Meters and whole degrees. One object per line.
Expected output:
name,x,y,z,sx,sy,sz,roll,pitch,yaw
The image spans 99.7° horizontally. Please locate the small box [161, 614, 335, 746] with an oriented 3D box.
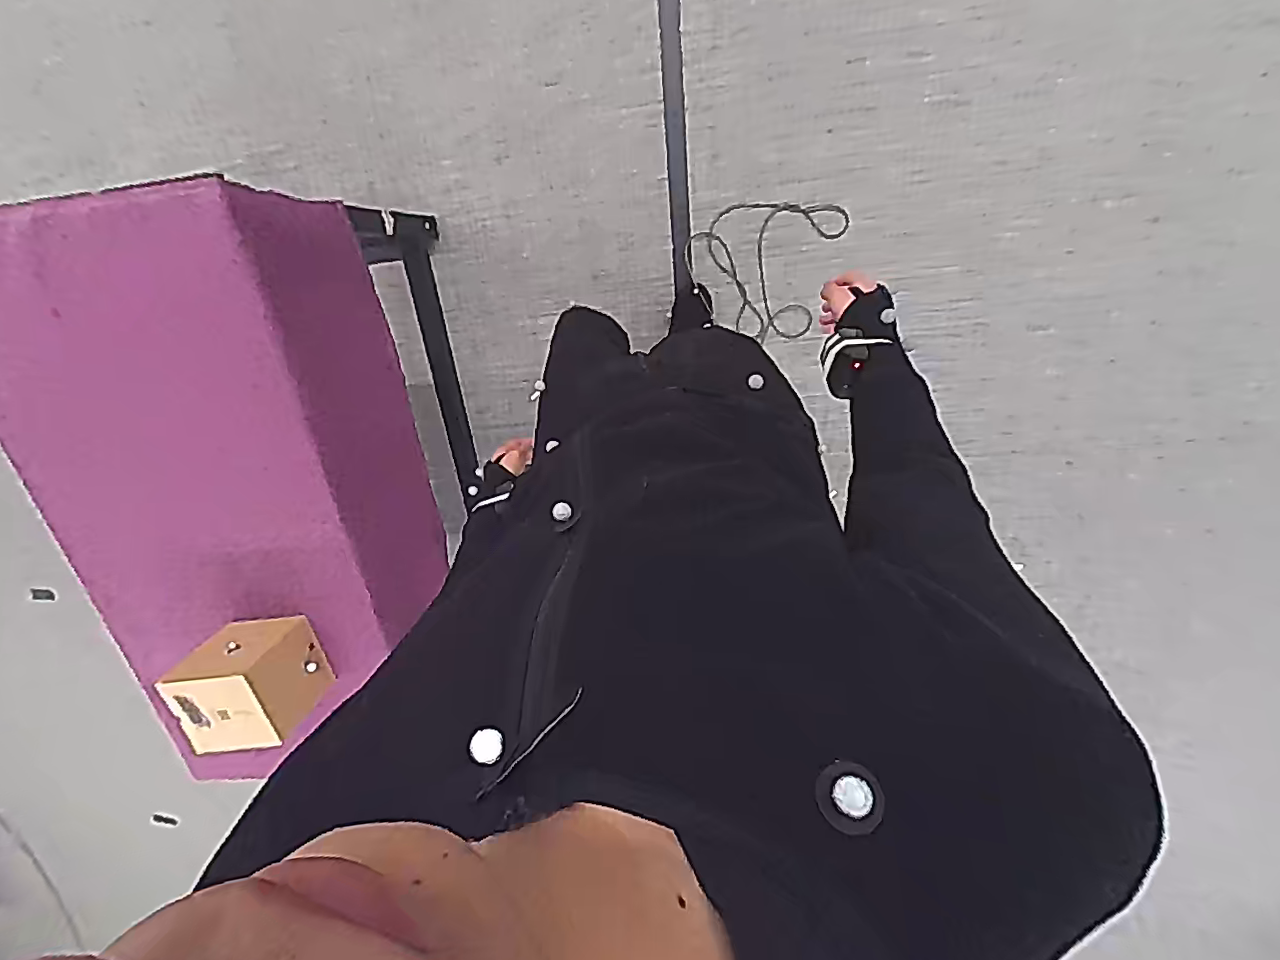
small box,-0.732,0.375,1.031,0.179,0.176,0.168,-8,112,8
